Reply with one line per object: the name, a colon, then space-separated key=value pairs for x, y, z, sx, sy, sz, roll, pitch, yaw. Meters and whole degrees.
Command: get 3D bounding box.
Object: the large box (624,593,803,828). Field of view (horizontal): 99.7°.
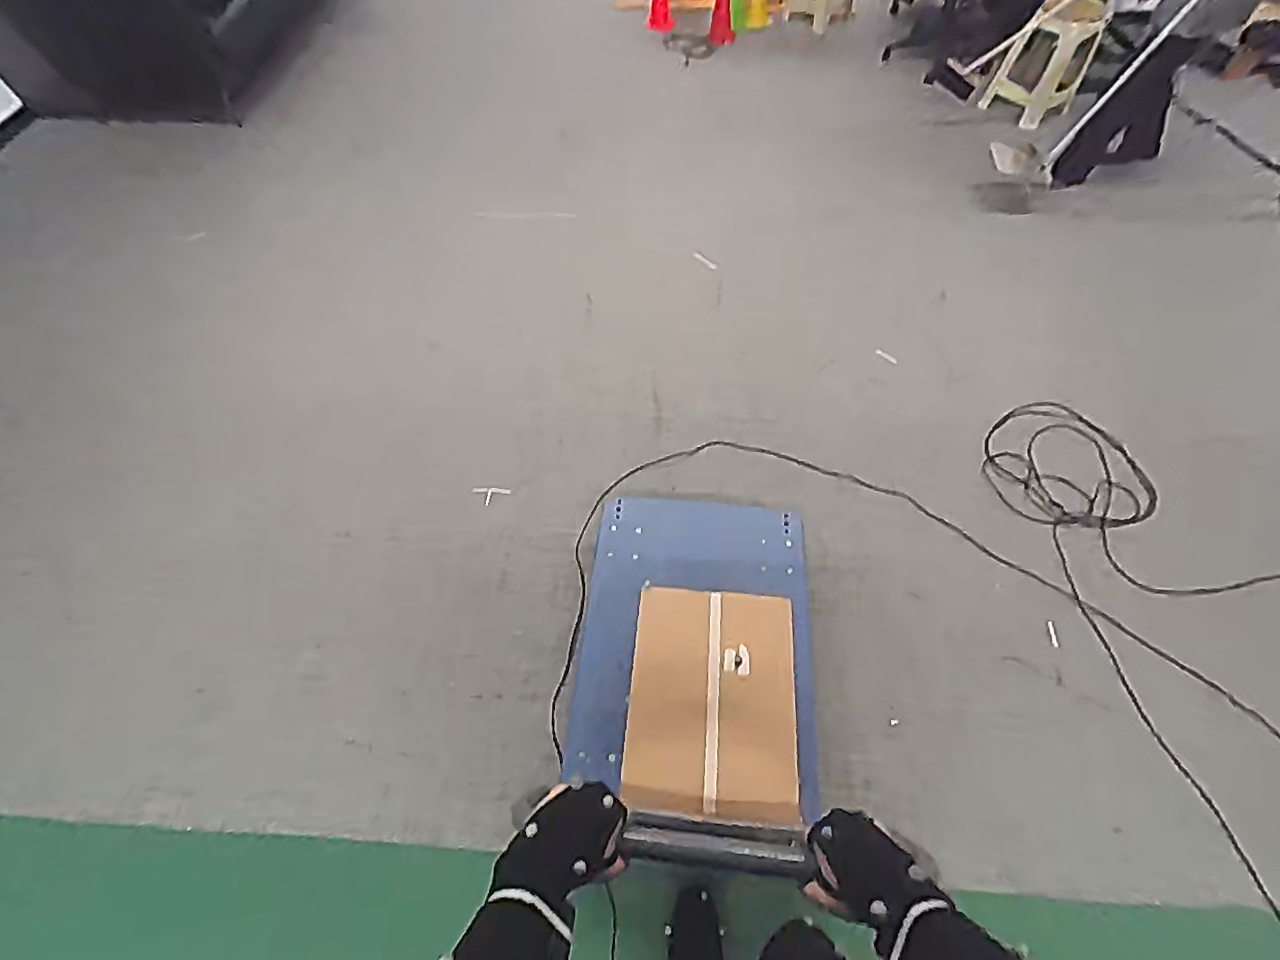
large box: x=0.145 y=0.495 z=1.154 sx=0.320 sy=0.320 sz=0.408 roll=4 pitch=58 yaw=4
